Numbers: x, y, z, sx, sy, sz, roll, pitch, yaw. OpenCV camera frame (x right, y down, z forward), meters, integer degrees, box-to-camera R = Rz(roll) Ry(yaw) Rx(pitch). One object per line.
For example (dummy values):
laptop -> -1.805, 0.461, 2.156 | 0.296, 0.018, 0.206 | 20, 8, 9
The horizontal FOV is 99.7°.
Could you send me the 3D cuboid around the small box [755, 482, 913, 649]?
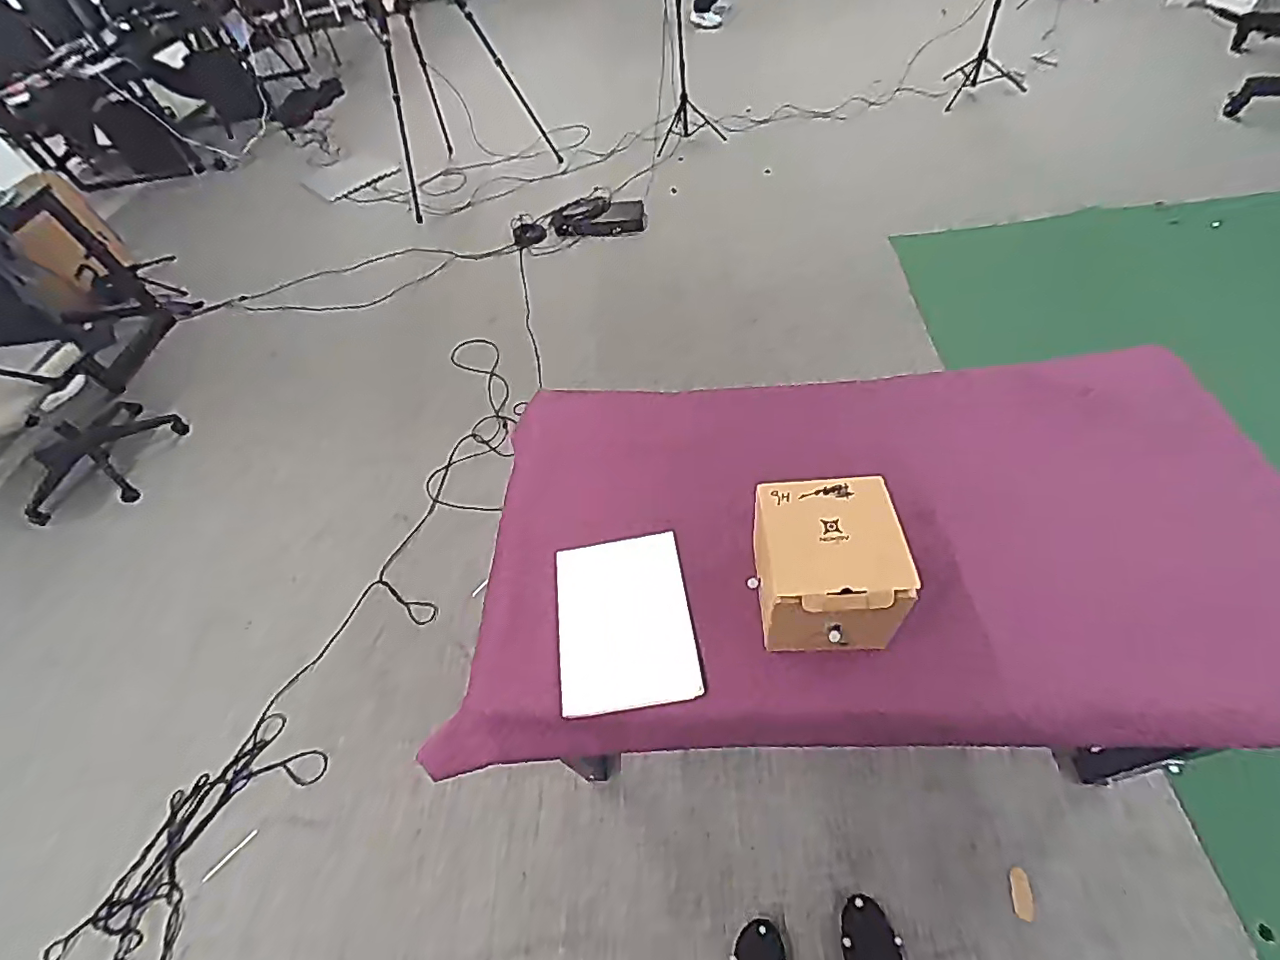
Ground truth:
small box -> 0.250, 0.125, 0.743 | 0.168, 0.176, 0.179 | -3, 53, 7
